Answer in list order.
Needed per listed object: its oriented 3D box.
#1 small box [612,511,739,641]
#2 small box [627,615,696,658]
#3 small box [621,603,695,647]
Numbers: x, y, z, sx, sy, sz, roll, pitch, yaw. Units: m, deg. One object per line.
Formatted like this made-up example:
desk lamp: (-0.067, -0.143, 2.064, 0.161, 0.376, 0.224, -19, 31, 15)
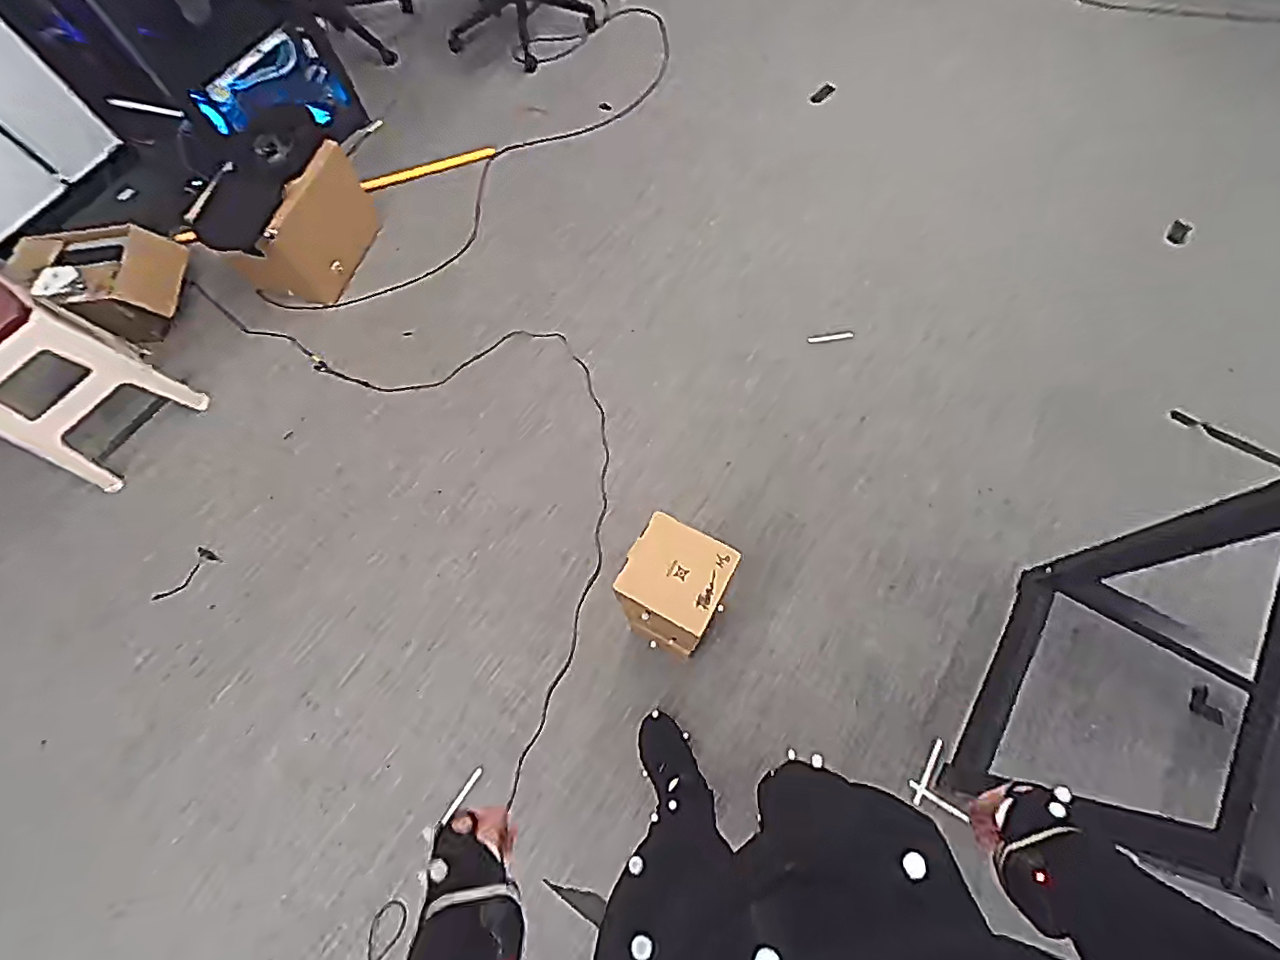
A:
small box: (0.067, 0.190, 1.024, 0.179, 0.176, 0.168, 26, 72, 13)
small box: (0.083, 0.315, 1.325, 0.168, 0.176, 0.179, 27, 73, 14)
small box: (0.073, 0.247, 1.178, 0.168, 0.176, 0.179, 23, 69, 10)
